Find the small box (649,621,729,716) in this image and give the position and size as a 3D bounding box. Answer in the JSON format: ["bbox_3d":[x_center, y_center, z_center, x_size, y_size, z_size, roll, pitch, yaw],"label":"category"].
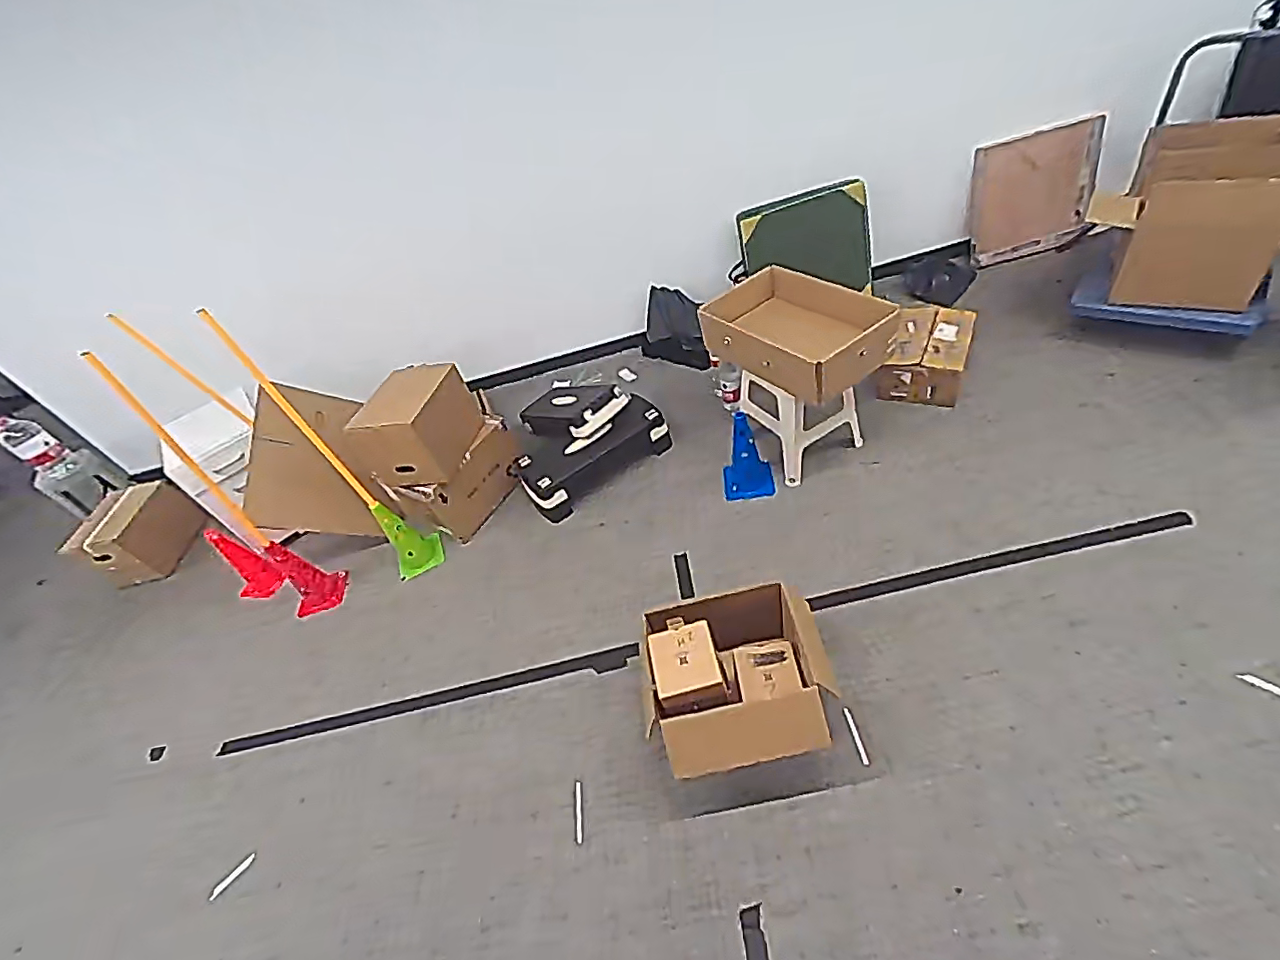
[{"bbox_3d":[0.132,0.511,1.444,0.168,0.176,0.179,-15,44,3],"label":"small box"}]
